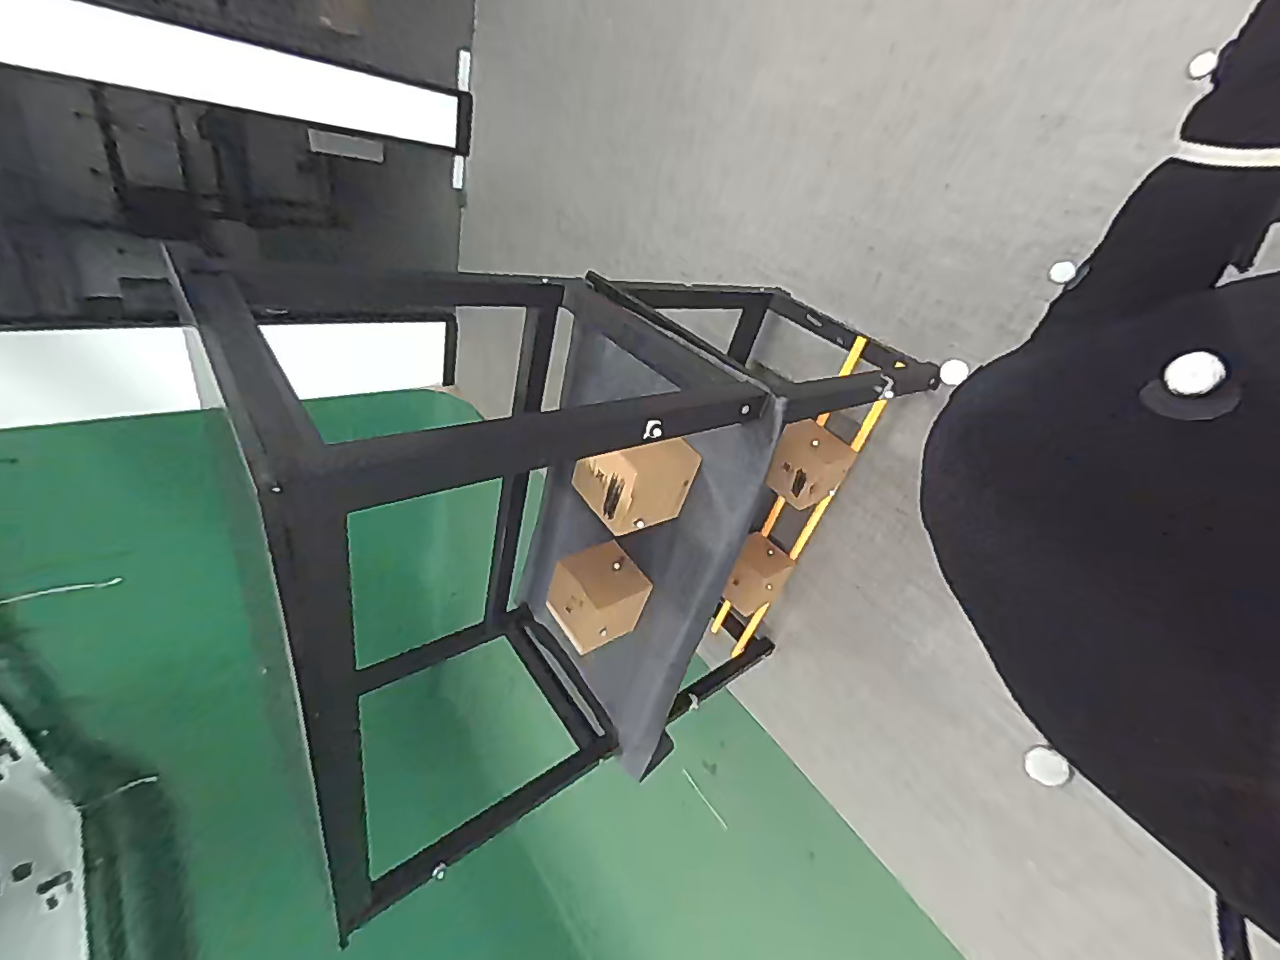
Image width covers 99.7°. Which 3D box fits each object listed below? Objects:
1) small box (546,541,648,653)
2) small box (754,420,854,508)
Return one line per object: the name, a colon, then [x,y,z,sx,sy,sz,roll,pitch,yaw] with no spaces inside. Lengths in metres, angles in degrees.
small box: [-0.104,0.278,1.308,0.168,0.176,0.179,45,133,31]
small box: [0.461,-0.054,1.516,0.179,0.176,0.168,45,133,30]
